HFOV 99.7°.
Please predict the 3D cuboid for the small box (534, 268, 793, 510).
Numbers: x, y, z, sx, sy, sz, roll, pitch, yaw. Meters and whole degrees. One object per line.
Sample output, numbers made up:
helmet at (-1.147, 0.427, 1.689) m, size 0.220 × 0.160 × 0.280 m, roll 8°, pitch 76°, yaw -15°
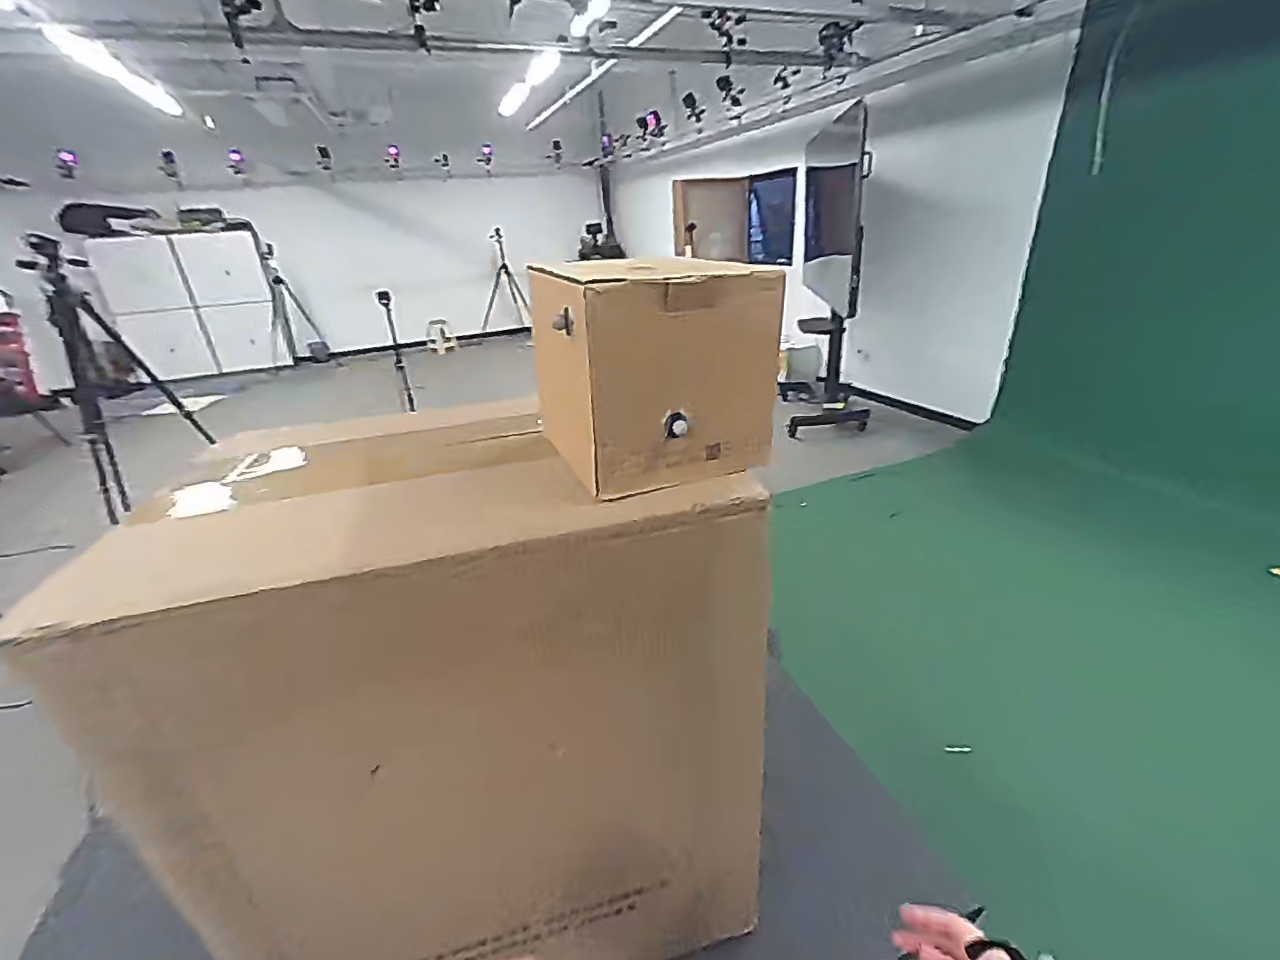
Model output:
small box at (0.009, -0.092, 0.484) m, size 0.168 × 0.176 × 0.179 m, roll -11°, pitch 29°, yaw -21°
